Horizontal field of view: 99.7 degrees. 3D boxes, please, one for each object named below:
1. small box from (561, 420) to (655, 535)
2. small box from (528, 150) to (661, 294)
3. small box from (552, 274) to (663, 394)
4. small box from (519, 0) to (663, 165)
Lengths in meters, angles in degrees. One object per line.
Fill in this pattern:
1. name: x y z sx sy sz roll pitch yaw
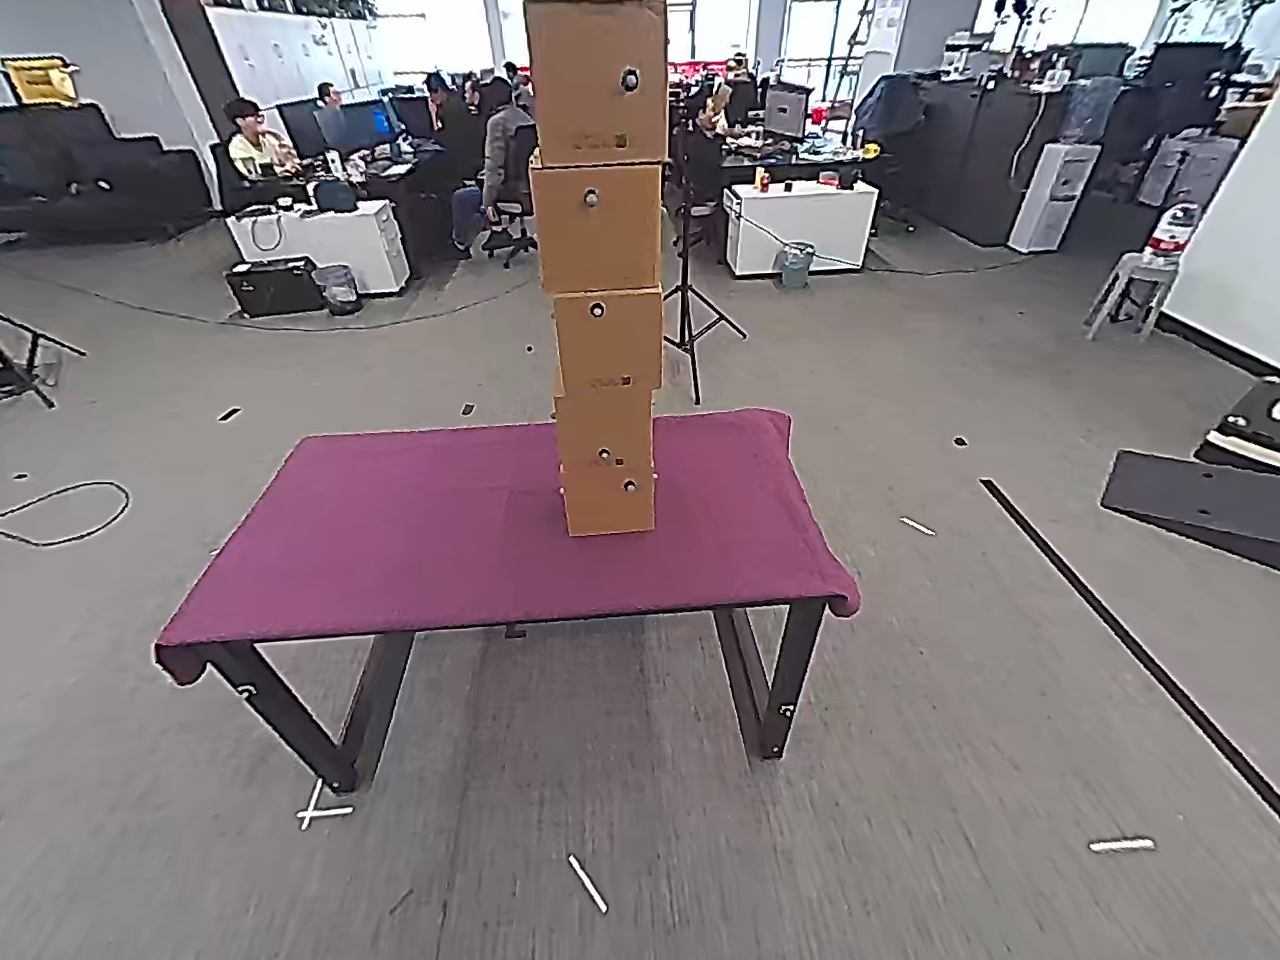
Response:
1. small box: -0.063 -0.005 1.116 0.179 0.176 0.168 -5 38 -3
2. small box: -0.065 -0.393 0.817 0.179 0.176 0.168 -5 39 -4
3. small box: -0.053 -0.260 0.911 0.168 0.176 0.179 -5 39 -3
4. small box: -0.061 -0.522 0.718 0.168 0.176 0.179 -5 38 -6
